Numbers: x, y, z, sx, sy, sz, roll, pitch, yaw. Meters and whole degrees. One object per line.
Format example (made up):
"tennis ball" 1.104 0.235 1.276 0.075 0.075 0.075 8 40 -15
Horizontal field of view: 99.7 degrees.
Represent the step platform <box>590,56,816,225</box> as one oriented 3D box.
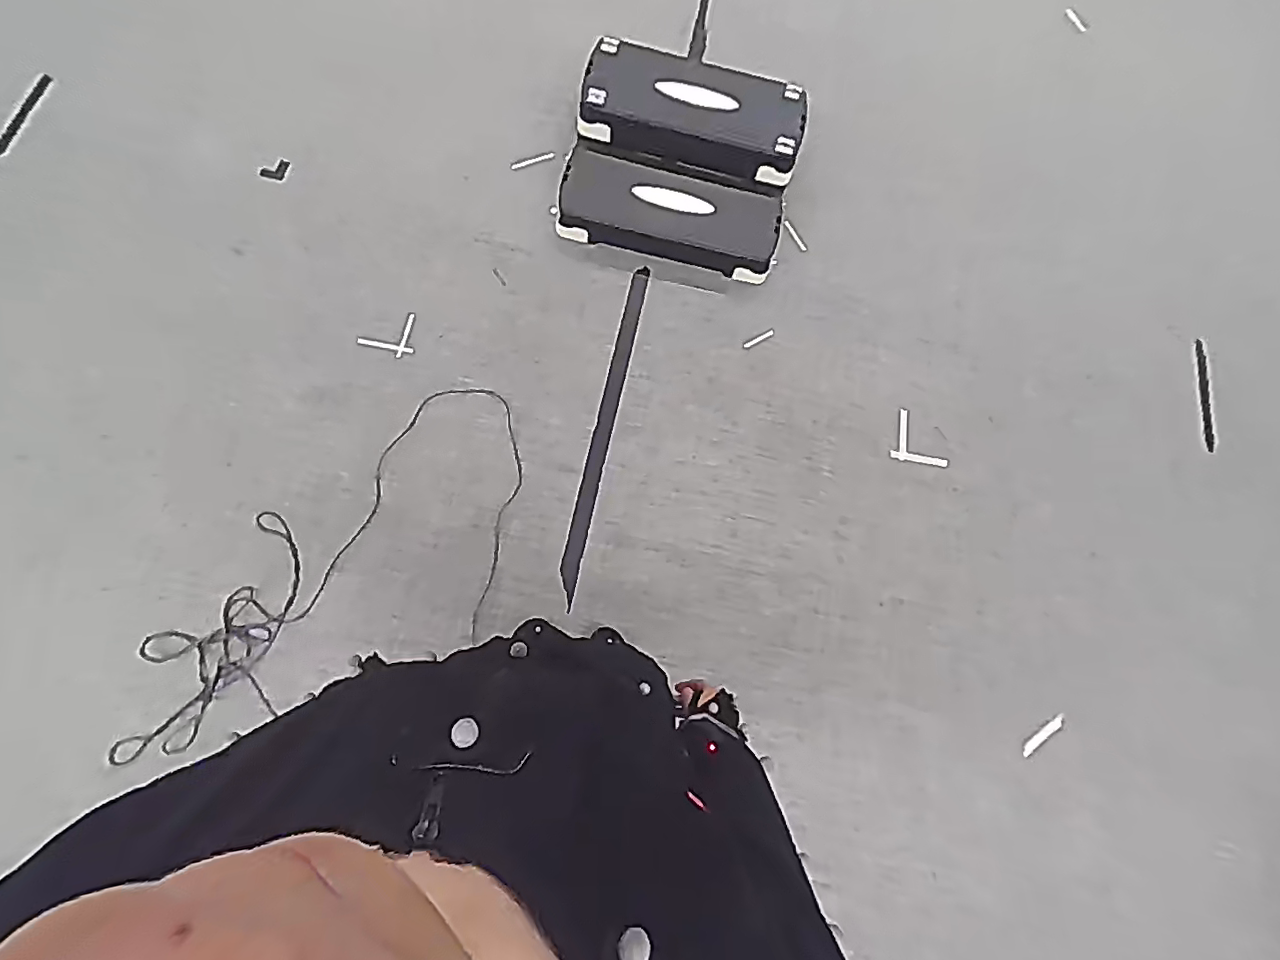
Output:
"step platform" 0.194 -1.062 1.696 0.684 0.204 0.286 17 74 -1
